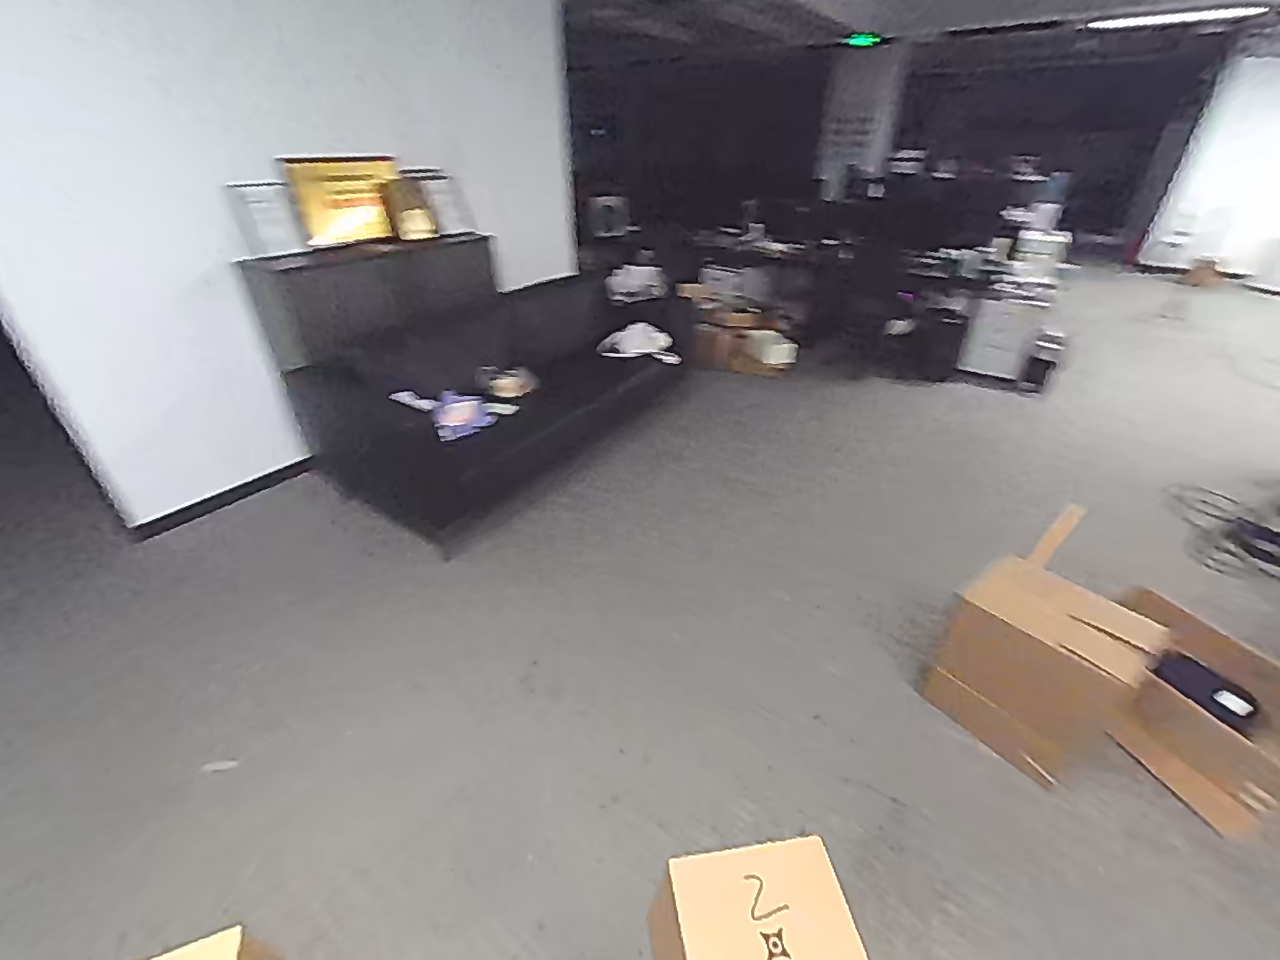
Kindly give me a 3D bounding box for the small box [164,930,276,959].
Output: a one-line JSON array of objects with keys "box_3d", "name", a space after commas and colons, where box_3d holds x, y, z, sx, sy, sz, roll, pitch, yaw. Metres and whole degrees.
[{"box_3d": [-0.387, 0.516, 0.426, 0.168, 0.176, 0.179, -11, 37, -17], "name": "small box"}]
